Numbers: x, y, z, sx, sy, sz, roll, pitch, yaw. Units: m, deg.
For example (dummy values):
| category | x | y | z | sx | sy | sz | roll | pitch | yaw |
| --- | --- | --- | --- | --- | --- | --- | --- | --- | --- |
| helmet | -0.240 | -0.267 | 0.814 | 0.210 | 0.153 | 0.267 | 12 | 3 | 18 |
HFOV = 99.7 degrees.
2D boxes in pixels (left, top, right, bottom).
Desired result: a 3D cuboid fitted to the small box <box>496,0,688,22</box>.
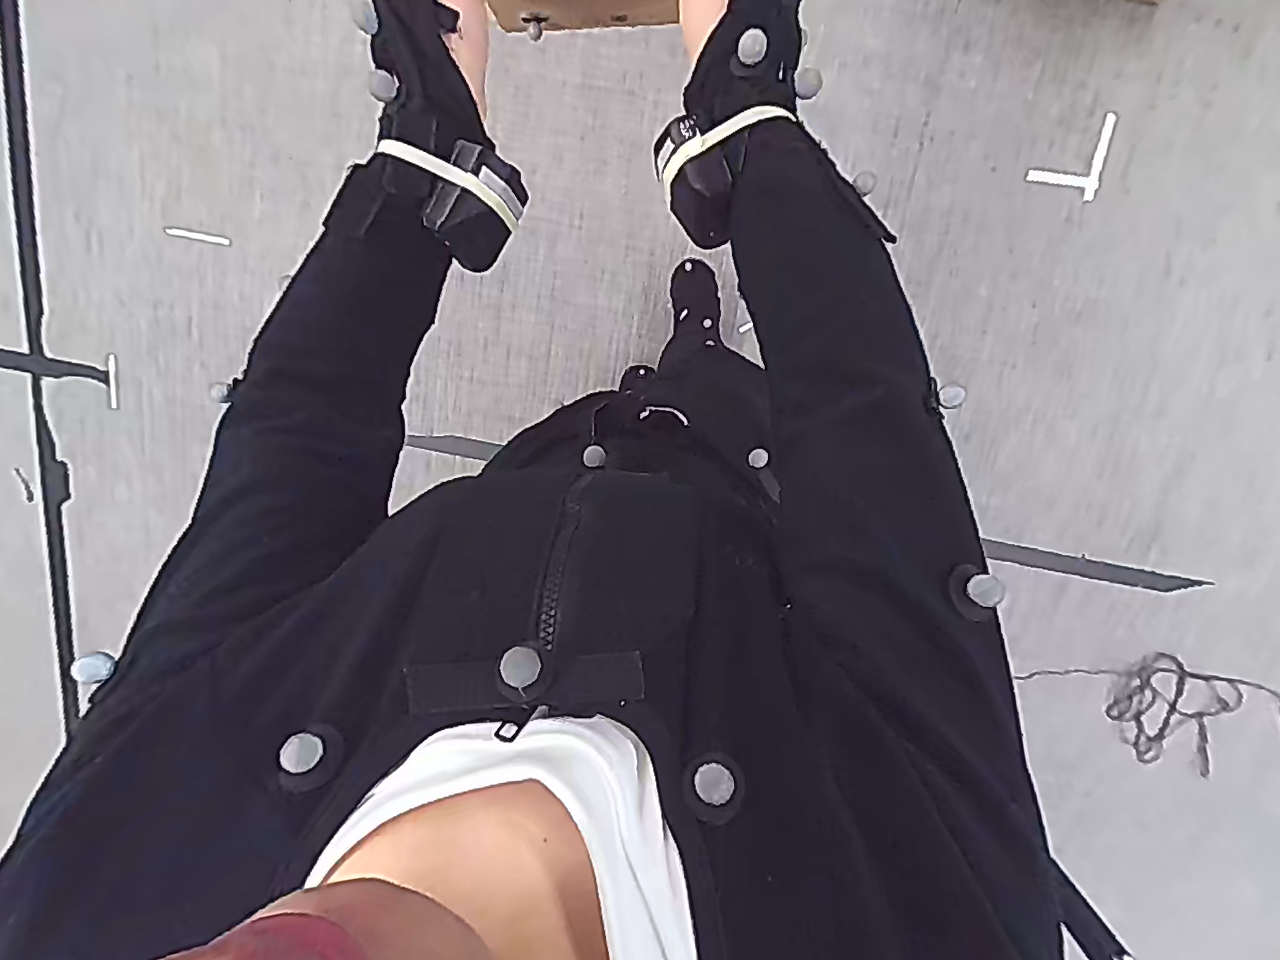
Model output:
| category | x | y | z | sx | sy | sz | roll | pitch | yaw |
| --- | --- | --- | --- | --- | --- | --- | --- | --- | --- |
| small box | -0.042 | -0.449 | 0.369 | 0.168 | 0.176 | 0.179 | -3 | 111 | 0 |
